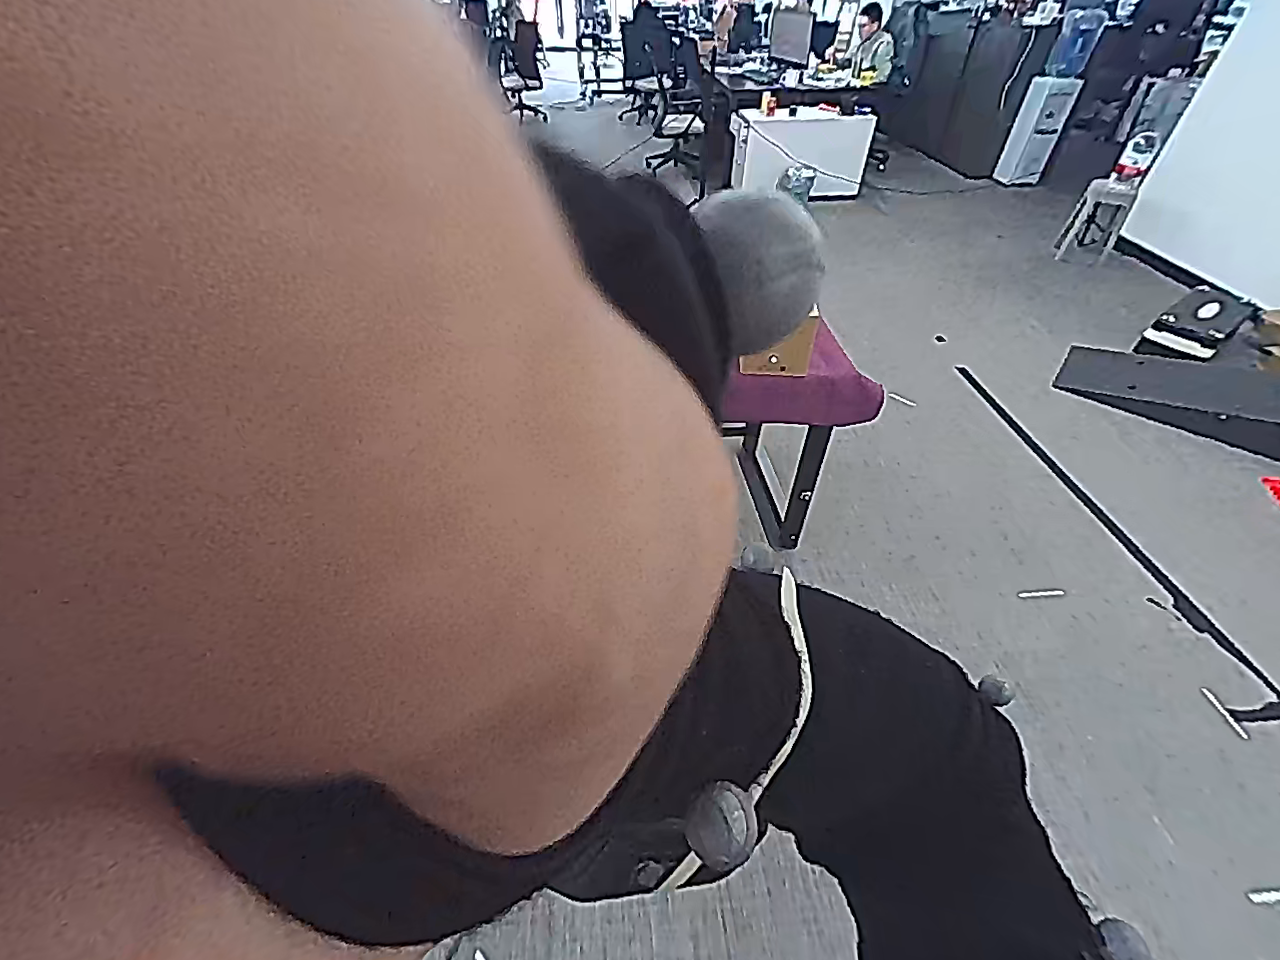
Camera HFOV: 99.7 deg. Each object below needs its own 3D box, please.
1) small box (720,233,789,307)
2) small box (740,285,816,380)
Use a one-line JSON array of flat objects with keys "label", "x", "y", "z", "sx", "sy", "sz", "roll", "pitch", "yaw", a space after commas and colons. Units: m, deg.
[{"label": "small box", "x": 0.345, "y": -0.647, "z": 1.668, "sx": 0.168, "sy": 0.176, "sz": 0.179, "roll": 0, "pitch": 43, "yaw": -1}, {"label": "small box", "x": 0.346, "y": -0.379, "z": 1.389, "sx": 0.168, "sy": 0.176, "sz": 0.179, "roll": 3, "pitch": 48, "yaw": 7}]
